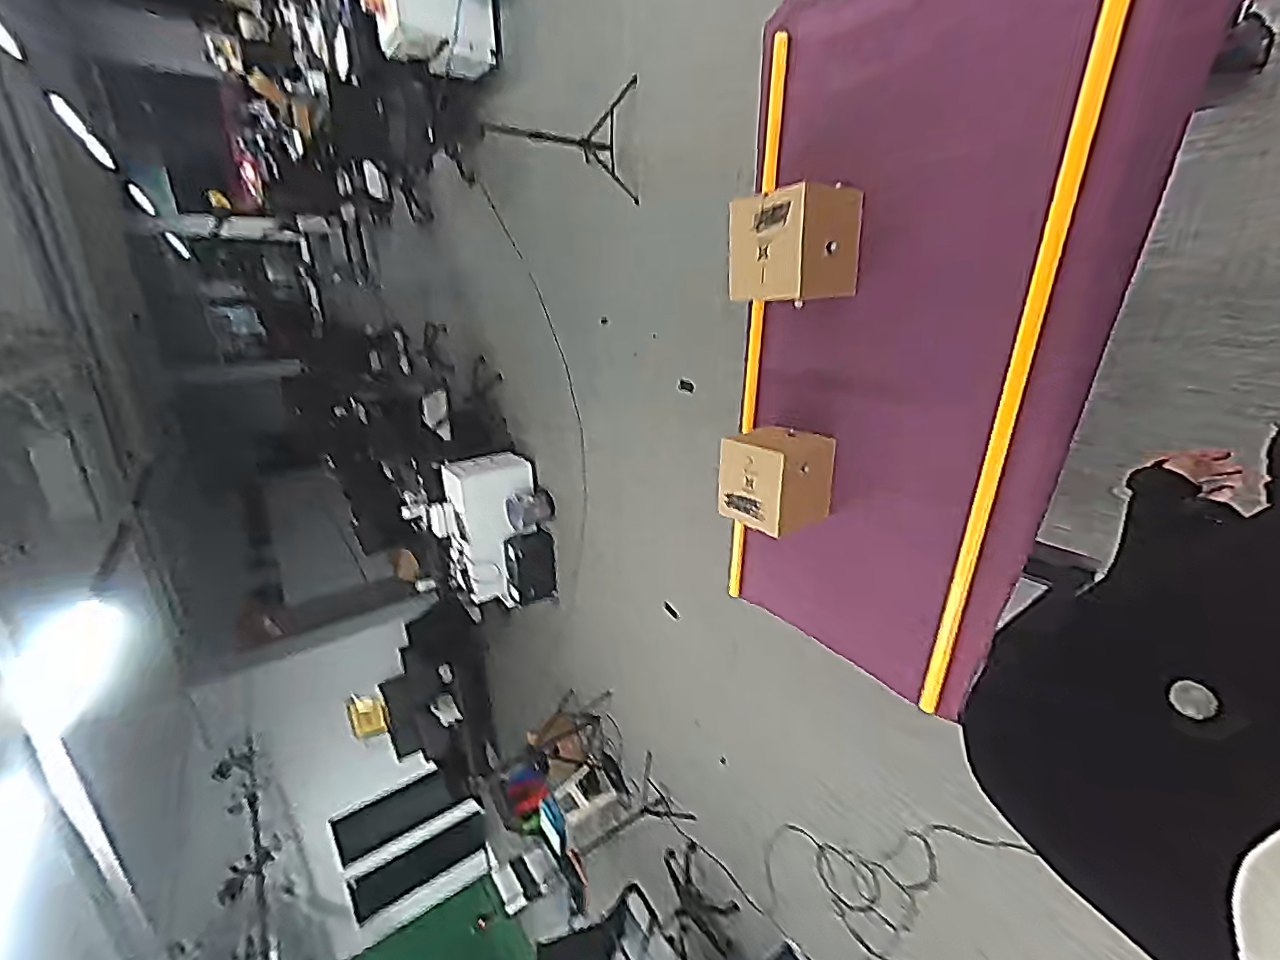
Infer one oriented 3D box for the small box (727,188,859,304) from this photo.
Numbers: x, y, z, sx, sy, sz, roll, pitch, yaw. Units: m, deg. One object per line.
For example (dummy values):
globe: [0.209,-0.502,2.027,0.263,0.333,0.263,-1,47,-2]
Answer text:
small box: [0.277,-0.415,0.985,0.168,0.176,0.179,21,120,50]
